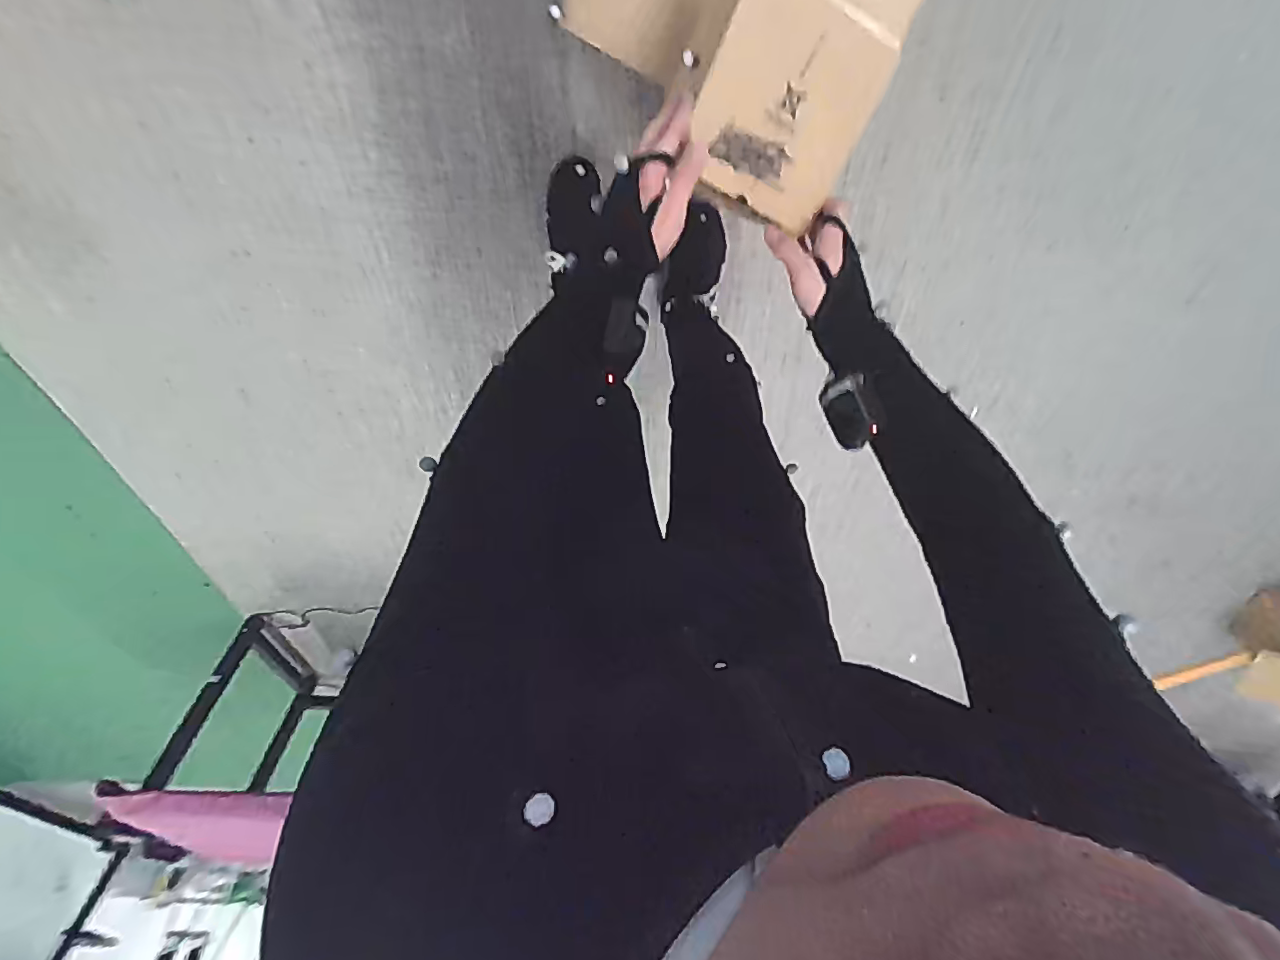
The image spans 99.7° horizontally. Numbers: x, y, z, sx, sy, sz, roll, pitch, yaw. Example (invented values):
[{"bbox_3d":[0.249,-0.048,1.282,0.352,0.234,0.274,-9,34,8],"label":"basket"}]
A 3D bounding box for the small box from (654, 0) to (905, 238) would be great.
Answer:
[{"bbox_3d":[0.126,-0.386,0.572,0.168,0.176,0.179,17,115,-21],"label":"small box"}]
